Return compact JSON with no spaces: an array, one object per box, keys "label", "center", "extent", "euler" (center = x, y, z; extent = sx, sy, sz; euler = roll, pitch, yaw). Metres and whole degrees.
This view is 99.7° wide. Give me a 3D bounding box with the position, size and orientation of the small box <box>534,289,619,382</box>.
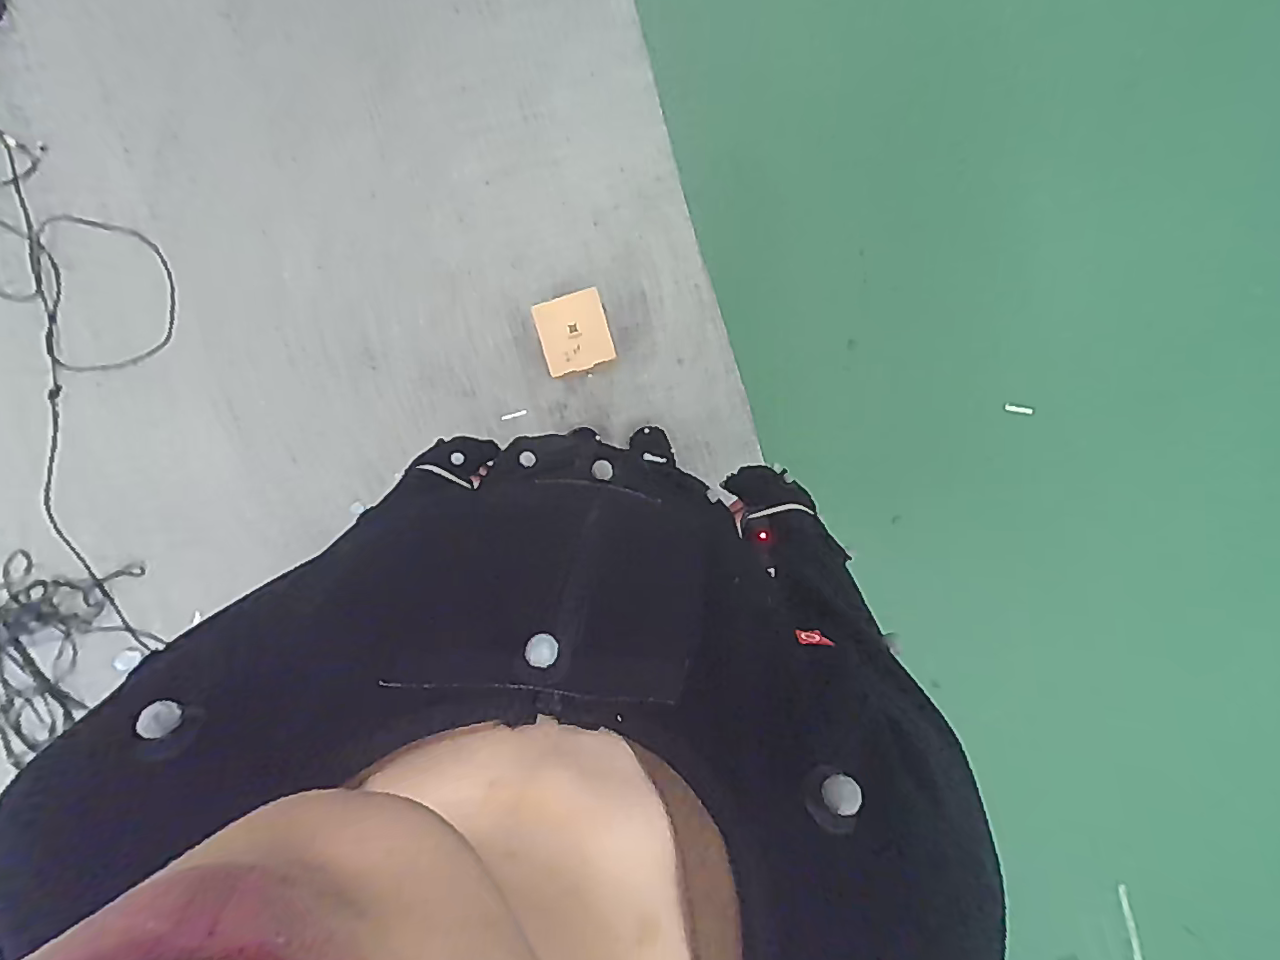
[{"label":"small box","center":[-0.155,-0.357,1.368],"extent":[0.168,0.176,0.179],"euler":[-16,96,2]}]
